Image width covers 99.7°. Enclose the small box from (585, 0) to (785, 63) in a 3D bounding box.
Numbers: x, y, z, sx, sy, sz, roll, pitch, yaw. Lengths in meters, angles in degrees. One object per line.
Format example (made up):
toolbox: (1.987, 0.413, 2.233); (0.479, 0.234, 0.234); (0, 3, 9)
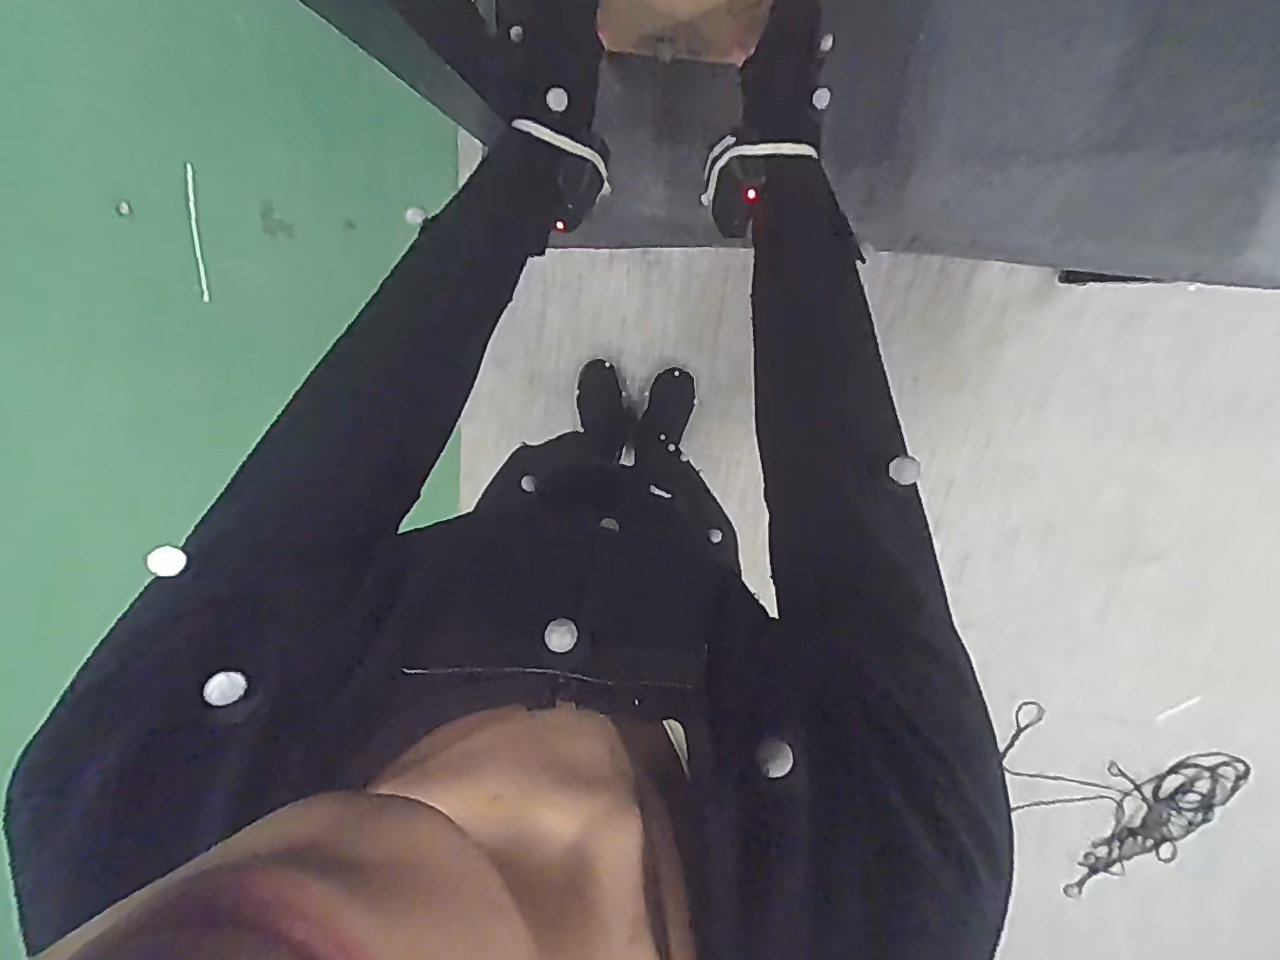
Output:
small box: (0.037, -0.476, 0.434); (0.168, 0.176, 0.179); (4, 112, -2)
